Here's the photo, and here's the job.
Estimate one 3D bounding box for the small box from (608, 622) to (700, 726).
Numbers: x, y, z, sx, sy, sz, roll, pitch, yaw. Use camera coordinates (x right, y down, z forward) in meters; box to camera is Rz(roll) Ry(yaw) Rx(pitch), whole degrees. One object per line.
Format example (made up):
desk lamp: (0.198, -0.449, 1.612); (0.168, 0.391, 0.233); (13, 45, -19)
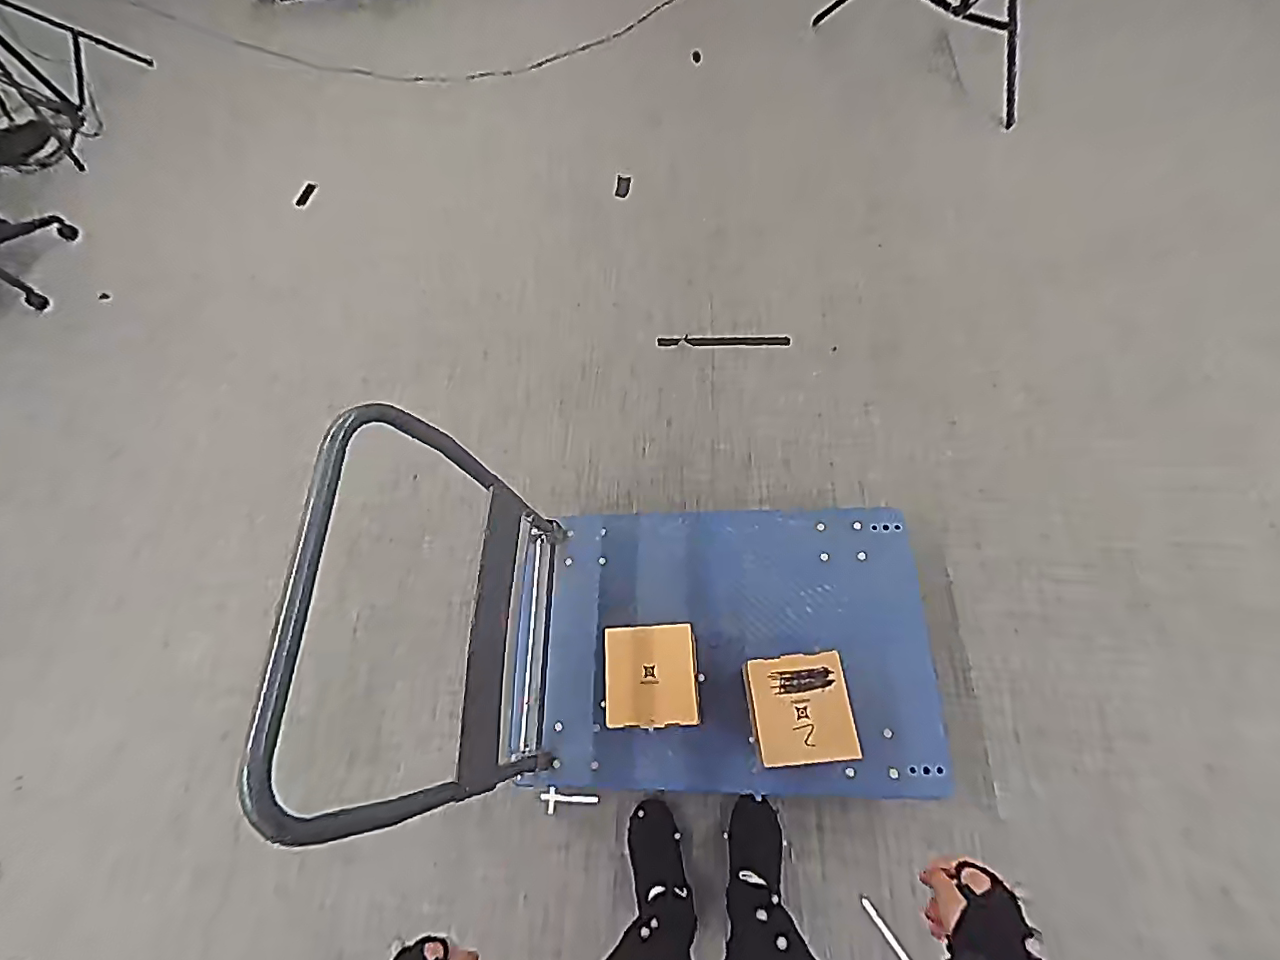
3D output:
small box: (0.029, 0.384, 1.062); (0.168, 0.176, 0.179); (-5, 68, 5)
